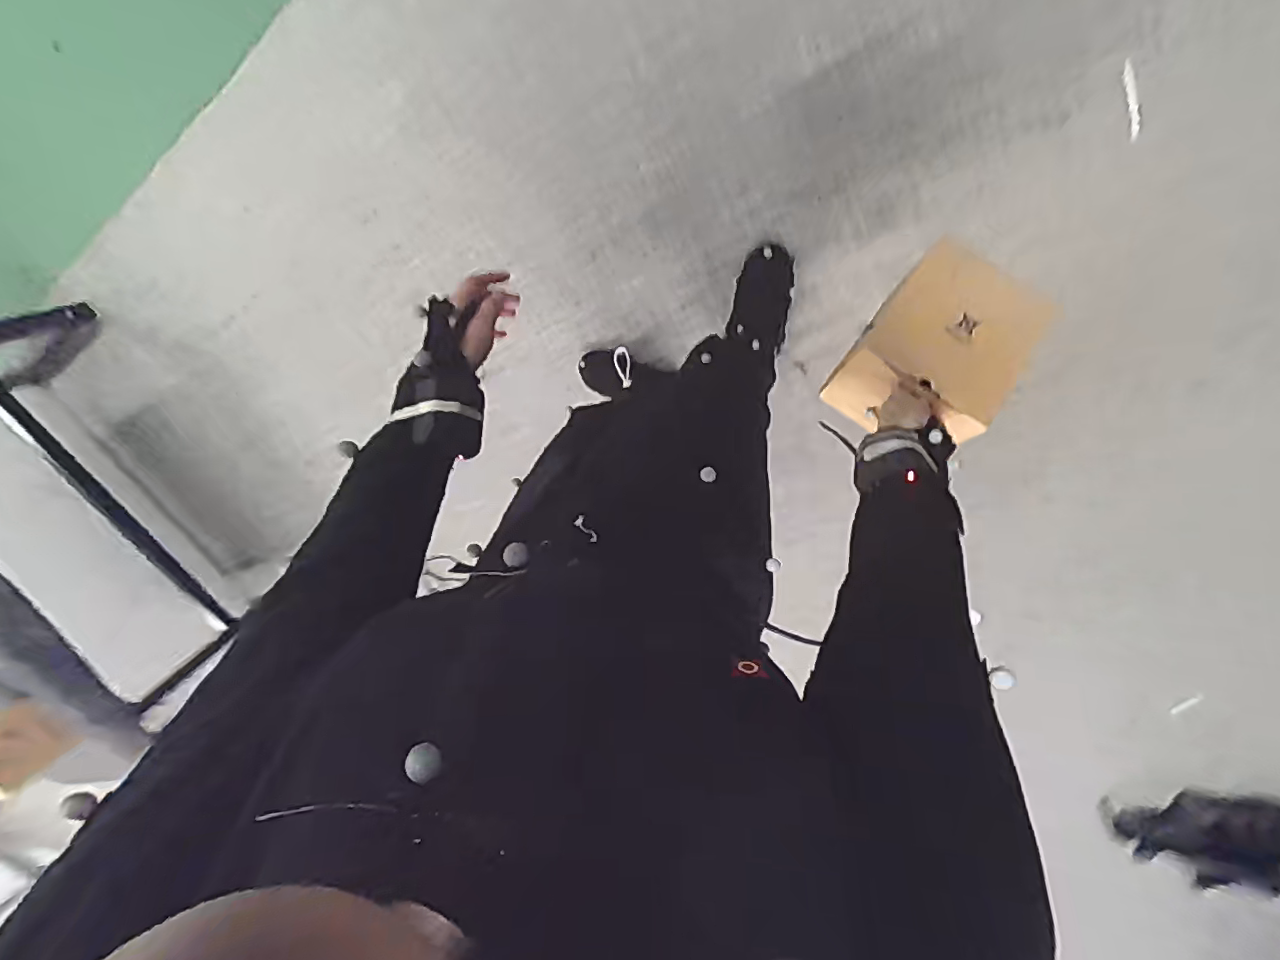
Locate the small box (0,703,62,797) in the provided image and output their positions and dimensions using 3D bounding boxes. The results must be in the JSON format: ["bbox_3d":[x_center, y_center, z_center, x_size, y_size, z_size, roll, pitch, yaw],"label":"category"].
[{"bbox_3d":[-1.606,0.672,1.336,0.179,0.176,0.168,-15,113,25],"label":"small box"}]

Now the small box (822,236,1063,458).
[{"bbox_3d":[0.358,-0.152,0.676,0.168,0.176,0.179,36,83,6],"label":"small box"}]
